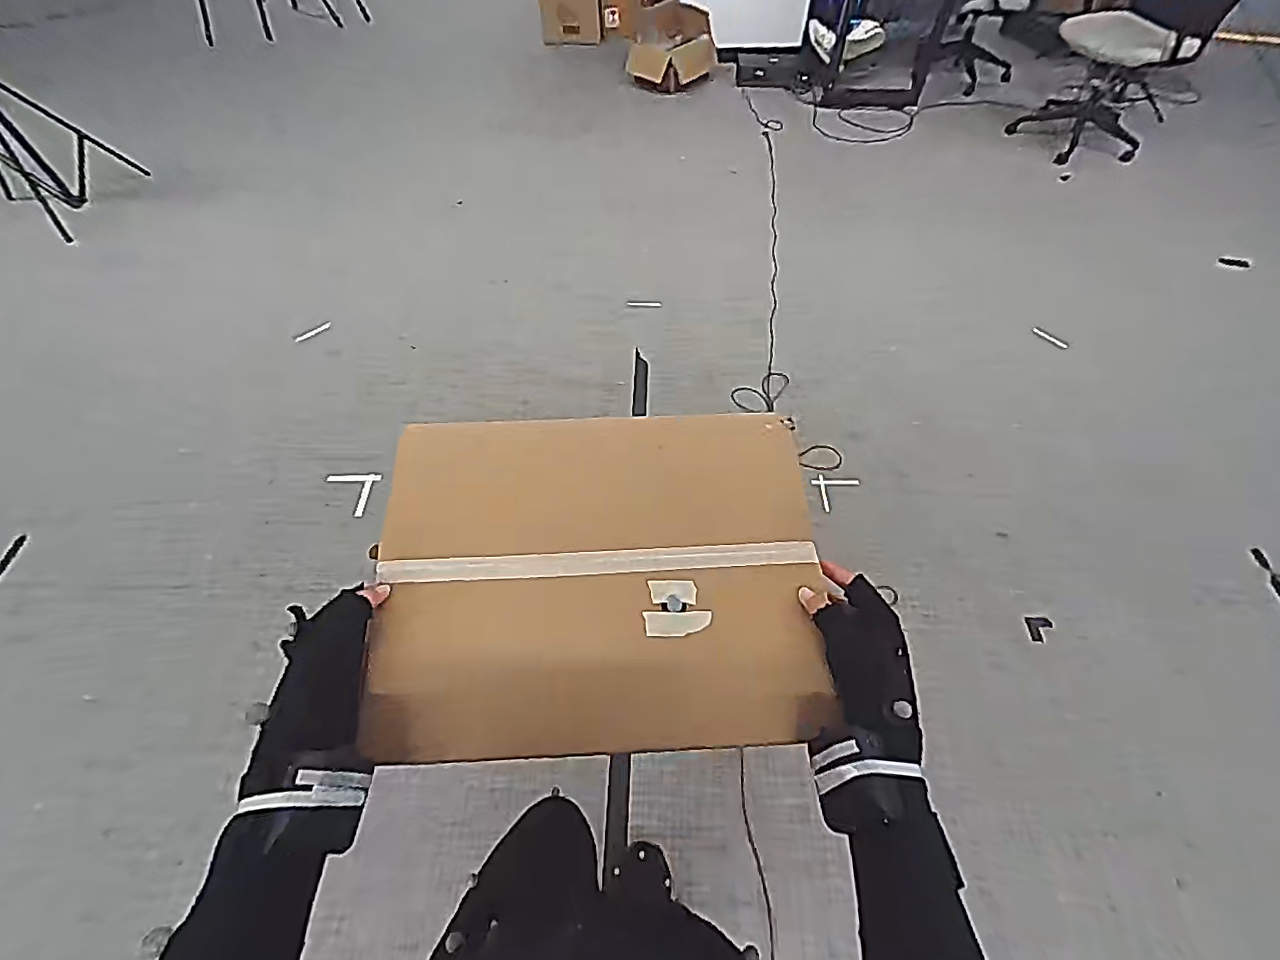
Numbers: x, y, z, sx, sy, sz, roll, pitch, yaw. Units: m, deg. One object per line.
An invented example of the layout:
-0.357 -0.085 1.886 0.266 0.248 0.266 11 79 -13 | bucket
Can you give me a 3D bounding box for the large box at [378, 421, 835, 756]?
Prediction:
-0.039 0.146 0.659 0.408 0.320 0.320 -2 66 -2 | large box
